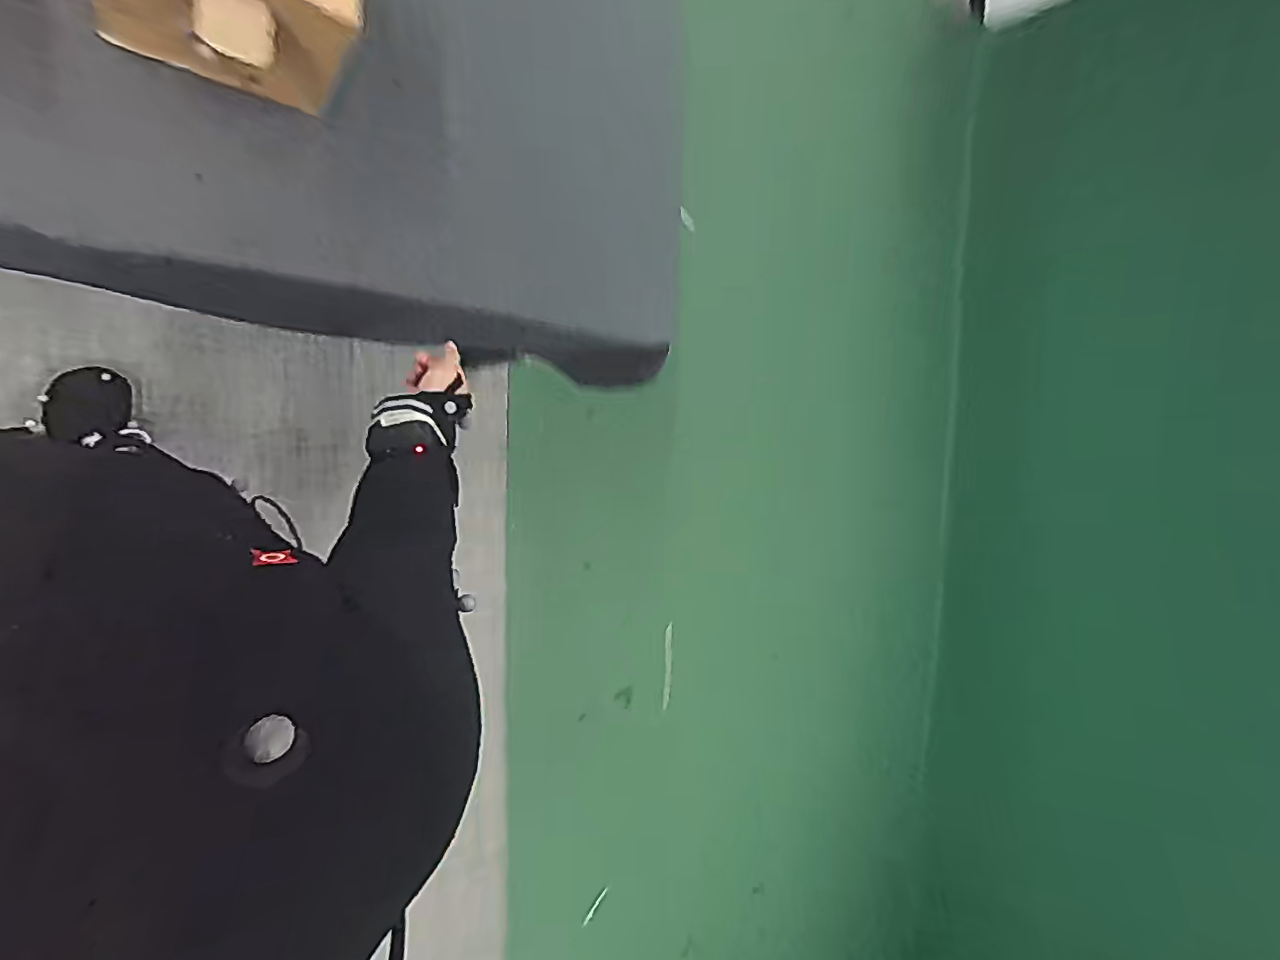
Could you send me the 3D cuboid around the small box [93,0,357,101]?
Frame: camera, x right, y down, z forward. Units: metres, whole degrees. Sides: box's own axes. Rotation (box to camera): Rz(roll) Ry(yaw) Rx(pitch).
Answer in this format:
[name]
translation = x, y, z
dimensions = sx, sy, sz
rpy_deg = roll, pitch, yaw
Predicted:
[small box]
translation = -0.344, -0.463, 0.440
dimensions = 0.168, 0.176, 0.179
rpy_deg = -4, 97, -41
